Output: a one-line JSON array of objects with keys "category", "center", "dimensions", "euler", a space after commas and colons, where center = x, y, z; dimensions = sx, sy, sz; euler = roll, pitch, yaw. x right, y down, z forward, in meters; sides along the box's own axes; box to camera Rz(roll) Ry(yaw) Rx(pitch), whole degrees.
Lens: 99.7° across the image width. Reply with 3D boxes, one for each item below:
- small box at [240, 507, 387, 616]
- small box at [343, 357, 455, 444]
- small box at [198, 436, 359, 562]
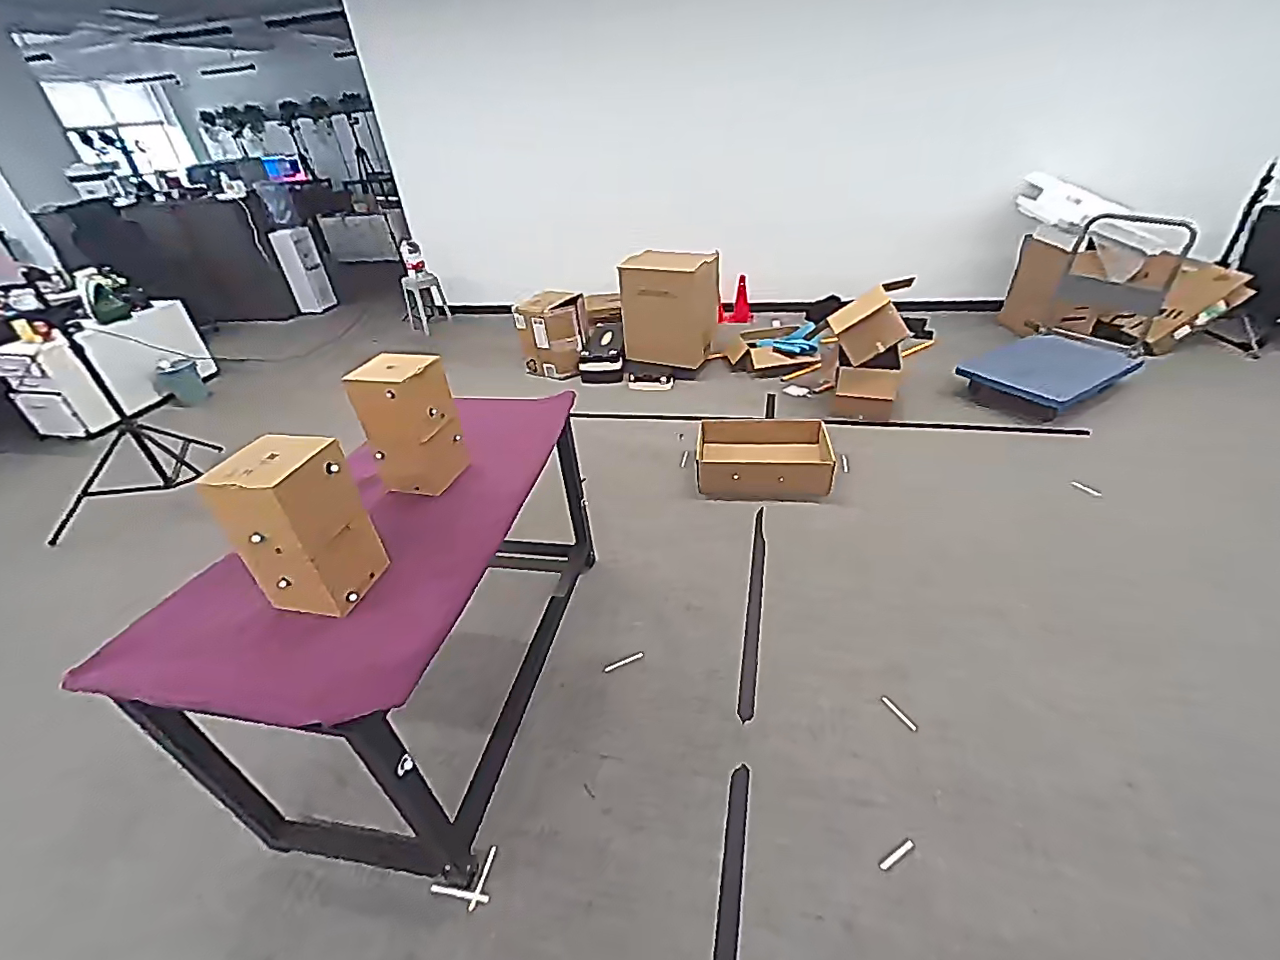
[{"category": "small box", "center": [-0.672, 0.167, 1.139], "dimensions": [0.179, 0.176, 0.168], "euler": [3, 35, 12]}, {"category": "small box", "center": [-0.607, -0.205, 1.382], "dimensions": [0.179, 0.176, 0.168], "euler": [5, 36, 14]}, {"category": "small box", "center": [-0.676, 0.033, 1.042], "dimensions": [0.168, 0.176, 0.179], "euler": [3, 35, 12]}]
